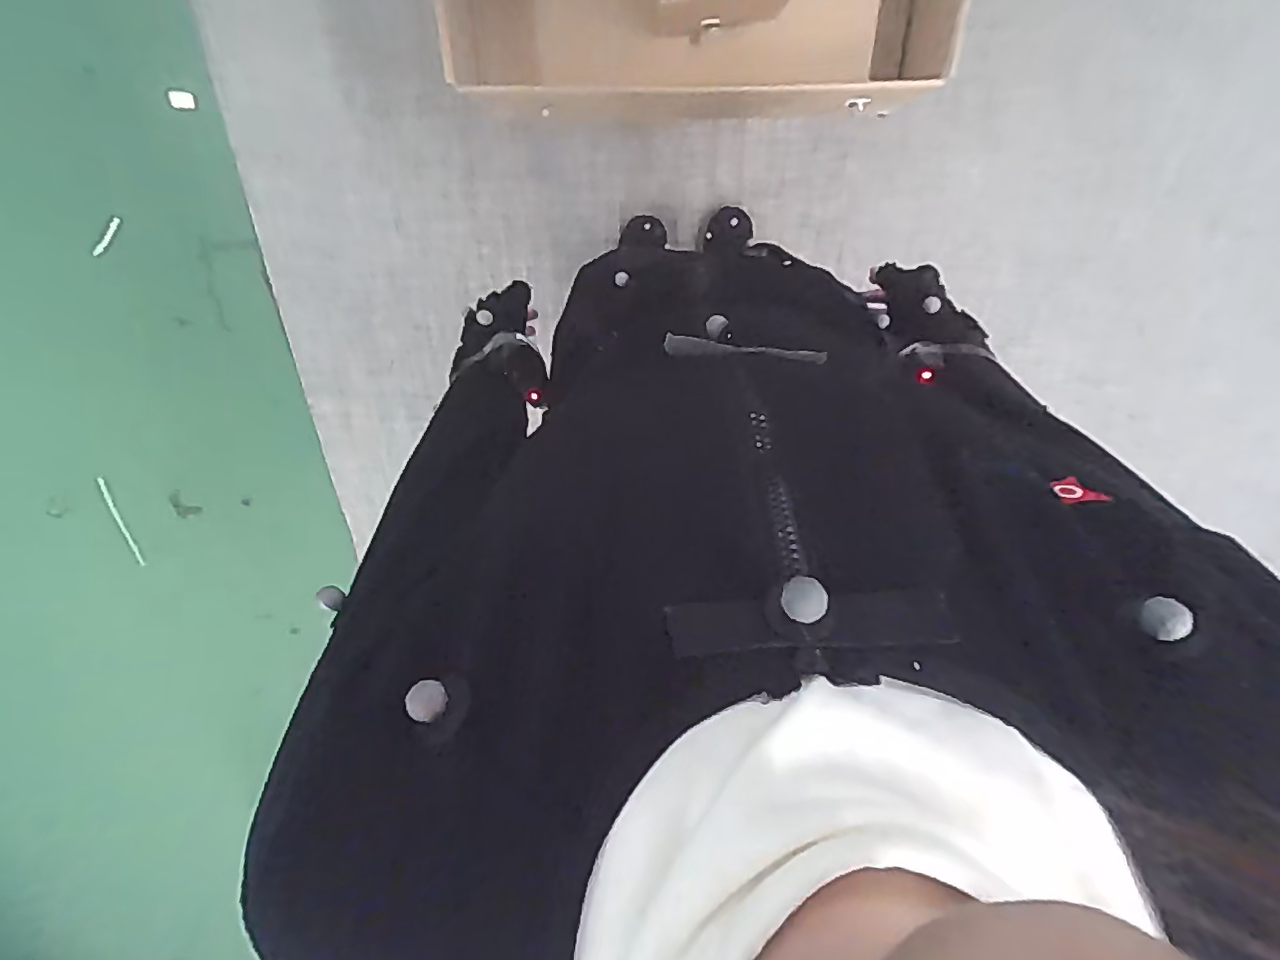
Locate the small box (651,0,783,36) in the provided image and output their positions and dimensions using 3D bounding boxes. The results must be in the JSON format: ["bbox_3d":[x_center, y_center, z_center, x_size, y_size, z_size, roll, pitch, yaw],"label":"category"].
[{"bbox_3d":[0.089,-0.660,0.632,0.168,0.176,0.179,-6,118,5],"label":"small box"}]
